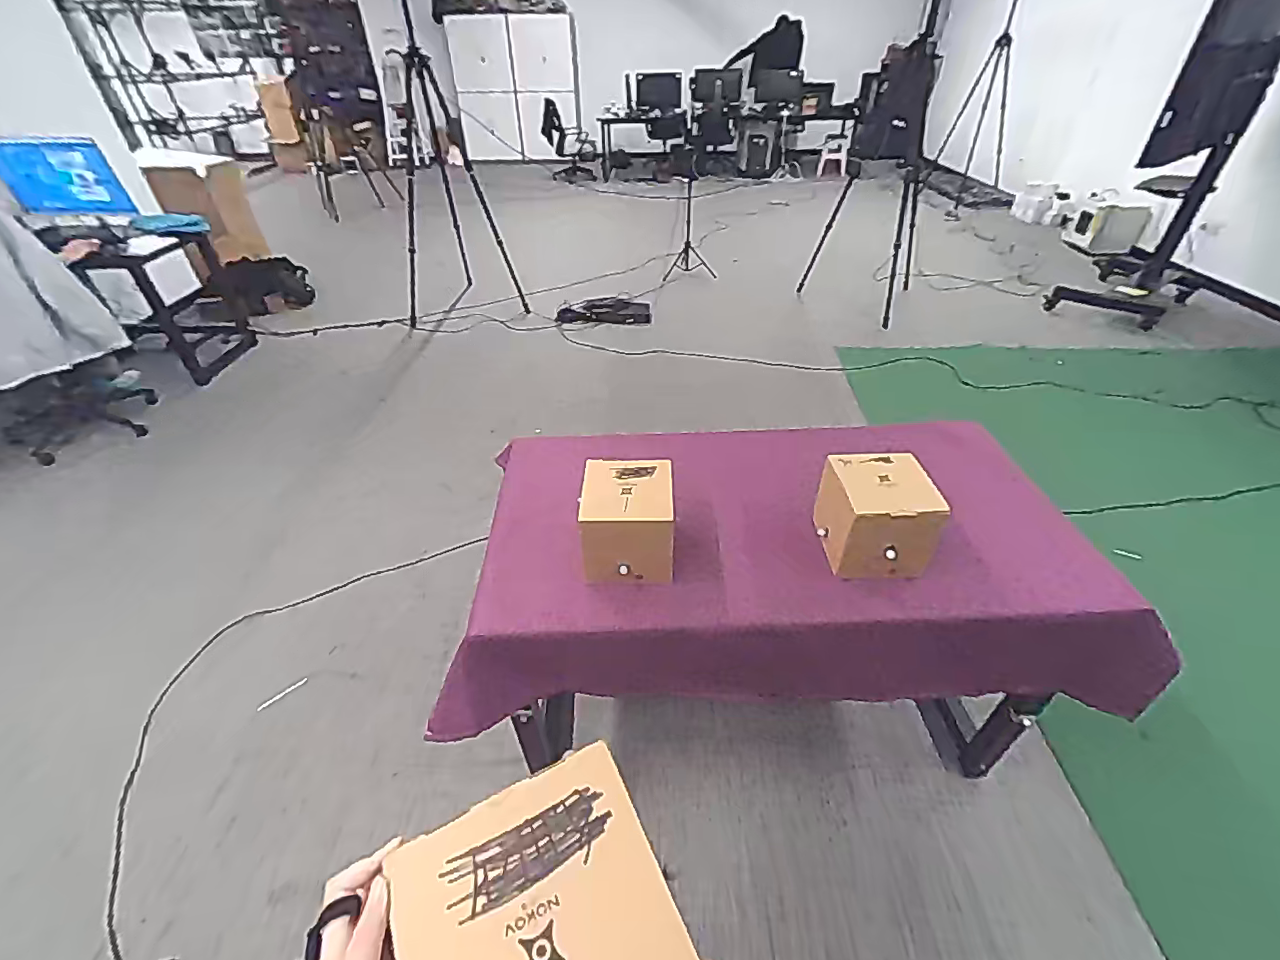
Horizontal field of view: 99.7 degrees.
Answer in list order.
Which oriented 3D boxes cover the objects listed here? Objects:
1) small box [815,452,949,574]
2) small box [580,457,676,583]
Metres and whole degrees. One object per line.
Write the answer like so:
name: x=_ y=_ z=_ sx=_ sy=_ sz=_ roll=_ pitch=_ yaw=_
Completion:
small box: x=0.447 y=0.065 z=1.032 sx=0.168 sy=0.176 sz=0.179 roll=-1 pitch=40 yaw=0
small box: x=-0.019 y=0.075 z=1.031 sx=0.168 sy=0.176 sz=0.179 roll=0 pitch=40 yaw=1
